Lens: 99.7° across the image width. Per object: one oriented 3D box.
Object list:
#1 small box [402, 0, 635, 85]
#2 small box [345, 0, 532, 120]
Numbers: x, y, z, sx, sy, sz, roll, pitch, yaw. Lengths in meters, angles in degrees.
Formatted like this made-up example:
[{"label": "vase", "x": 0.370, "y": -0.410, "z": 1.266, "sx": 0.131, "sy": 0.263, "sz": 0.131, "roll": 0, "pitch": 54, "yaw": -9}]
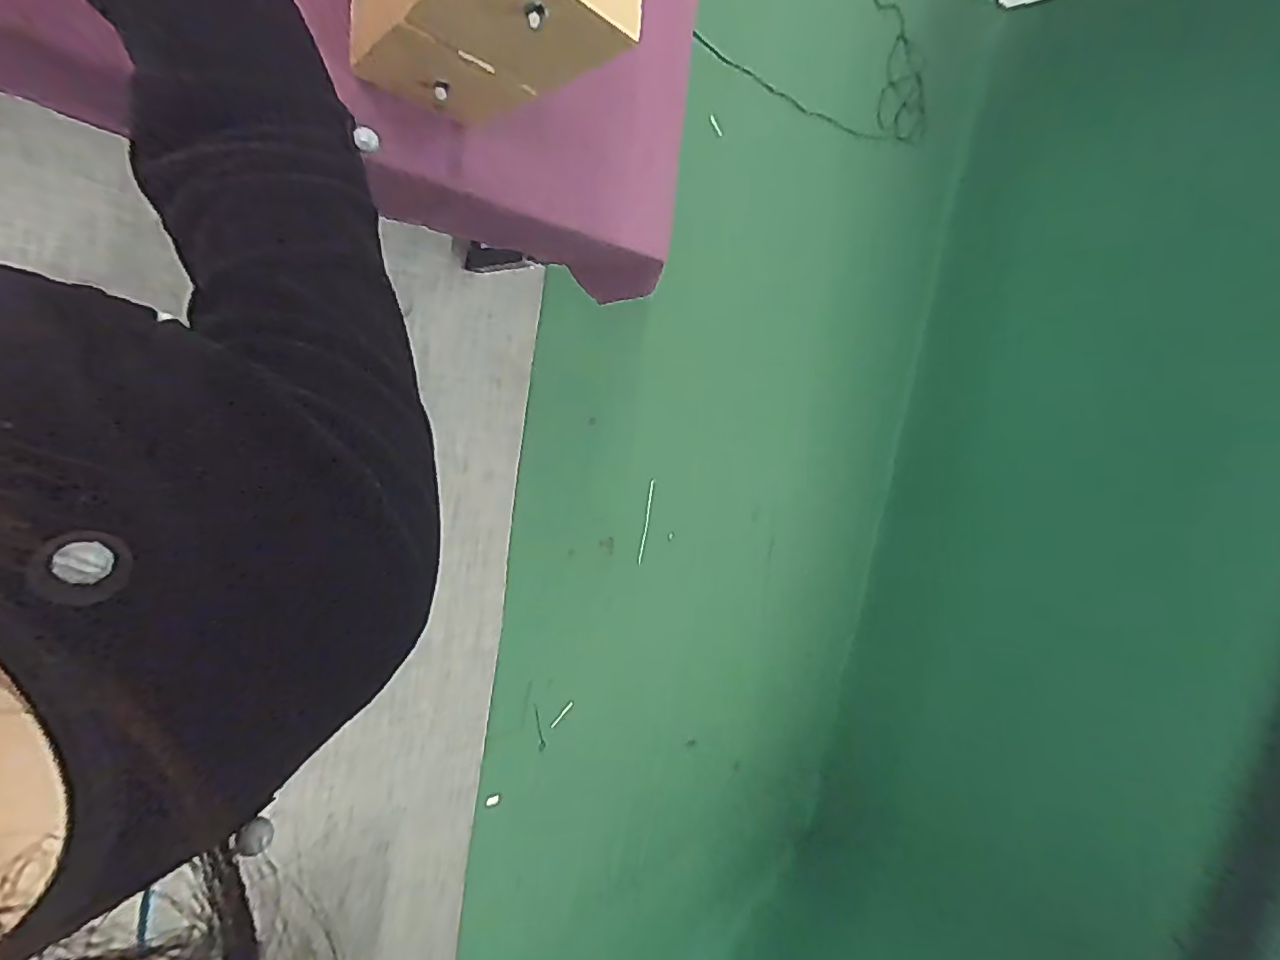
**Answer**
[{"label": "small box", "x": -0.118, "y": -0.531, "z": 0.531, "sx": 0.179, "sy": 0.176, "sz": 0.168, "roll": -5, "pitch": 105, "yaw": -45}, {"label": "small box", "x": -0.235, "y": -0.567, "z": 0.643, "sx": 0.168, "sy": 0.176, "sz": 0.179, "roll": -4, "pitch": 105, "yaw": -45}]
